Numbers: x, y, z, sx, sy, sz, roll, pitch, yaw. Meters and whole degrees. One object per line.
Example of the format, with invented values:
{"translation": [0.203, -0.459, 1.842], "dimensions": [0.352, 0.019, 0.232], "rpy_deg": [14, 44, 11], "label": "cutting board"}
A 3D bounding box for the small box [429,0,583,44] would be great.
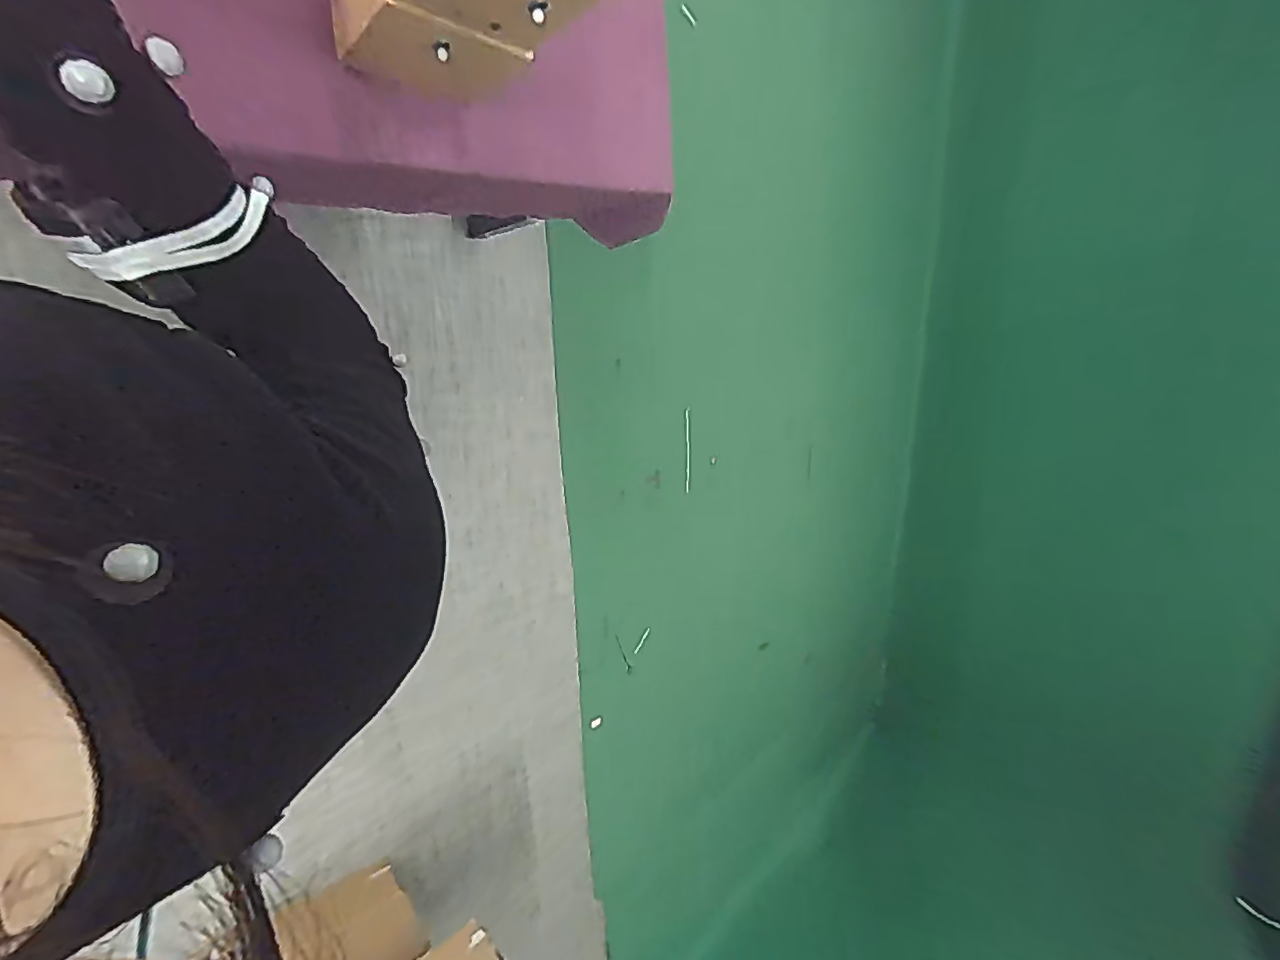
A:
{"translation": [-0.132, -0.564, 0.512], "dimensions": [0.168, 0.176, 0.179], "rpy_deg": [-13, 108, -41], "label": "small box"}

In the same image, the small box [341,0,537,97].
{"translation": [-0.241, -0.584, 0.631], "dimensions": [0.179, 0.176, 0.168], "rpy_deg": [-12, 109, -41], "label": "small box"}
